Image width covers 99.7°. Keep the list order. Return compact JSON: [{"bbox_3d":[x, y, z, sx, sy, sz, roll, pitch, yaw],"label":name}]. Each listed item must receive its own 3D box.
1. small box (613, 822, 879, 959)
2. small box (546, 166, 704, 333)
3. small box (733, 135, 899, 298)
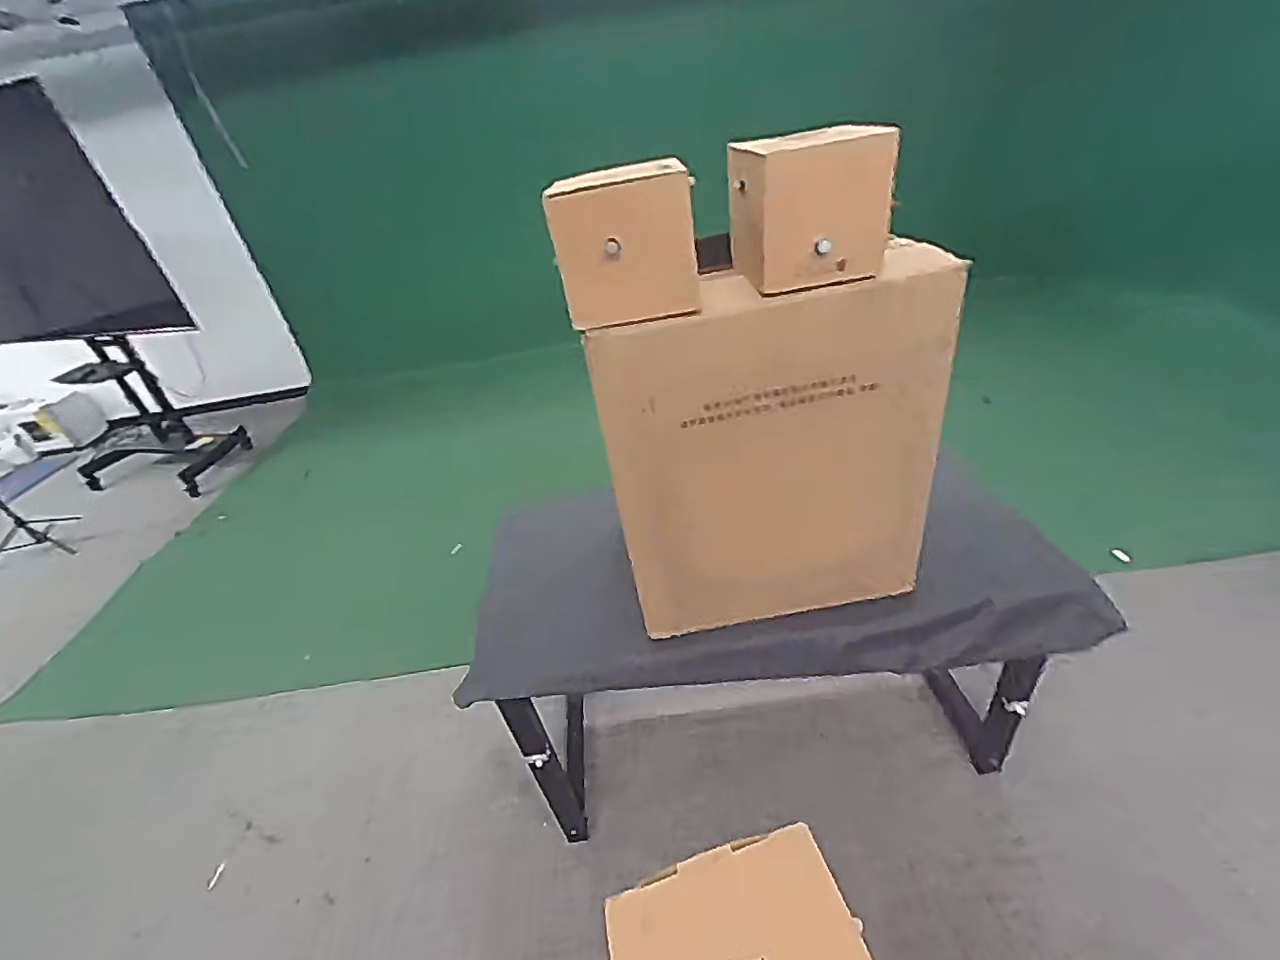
[{"bbox_3d":[0.091,0.391,0.371,0.168,0.176,0.179,-19,27,-4],"label":"small box"},{"bbox_3d":[-0.015,-0.315,0.746,0.179,0.176,0.168,-9,35,4],"label":"small box"},{"bbox_3d":[0.229,-0.366,0.750,0.168,0.176,0.179,-10,35,0],"label":"small box"}]
